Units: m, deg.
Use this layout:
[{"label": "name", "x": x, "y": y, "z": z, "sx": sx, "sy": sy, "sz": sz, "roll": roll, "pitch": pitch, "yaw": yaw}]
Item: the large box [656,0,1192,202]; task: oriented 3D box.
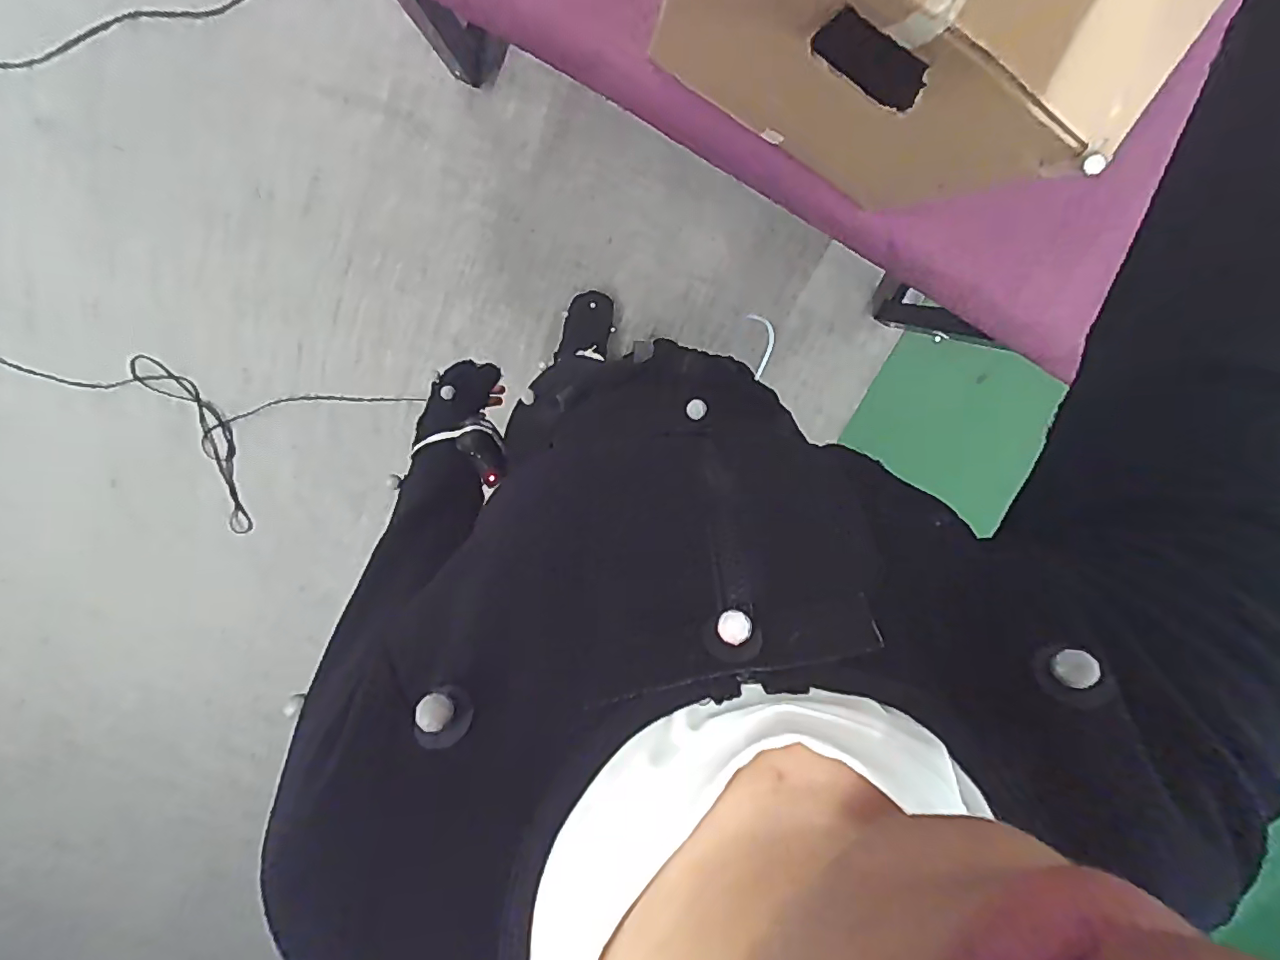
[{"label": "large box", "x": 0.252, "y": -0.503, "z": 0.423, "sx": 0.320, "sy": 0.320, "sz": 0.408, "roll": 26, "pitch": 107, "yaw": -14}]
